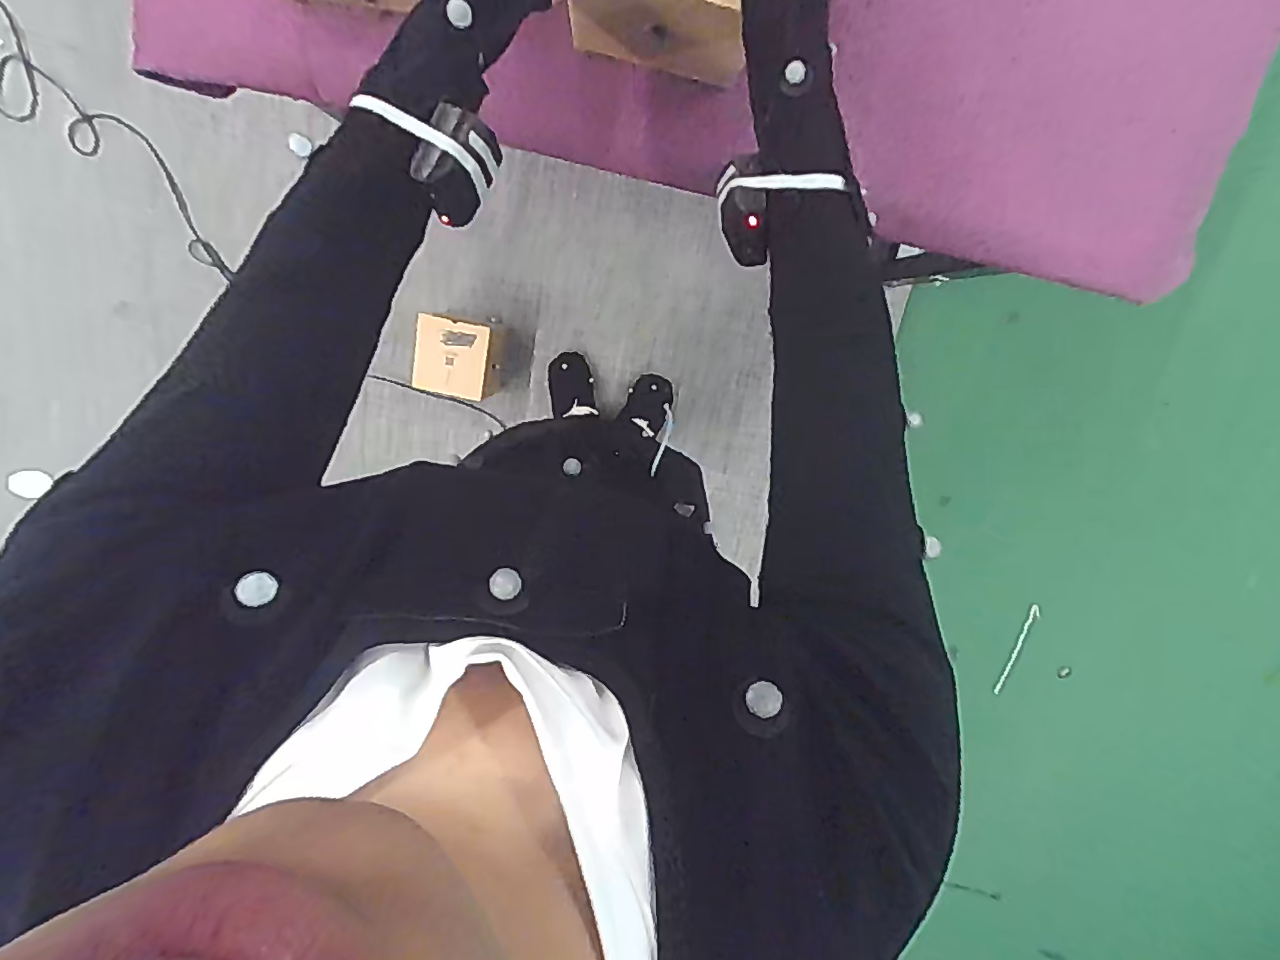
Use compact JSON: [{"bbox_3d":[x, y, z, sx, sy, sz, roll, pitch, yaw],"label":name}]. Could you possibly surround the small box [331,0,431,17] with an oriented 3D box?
[{"bbox_3d":[-0.292,-0.572,0.482,0.168,0.176,0.179,7,106,-3],"label":"small box"}]
